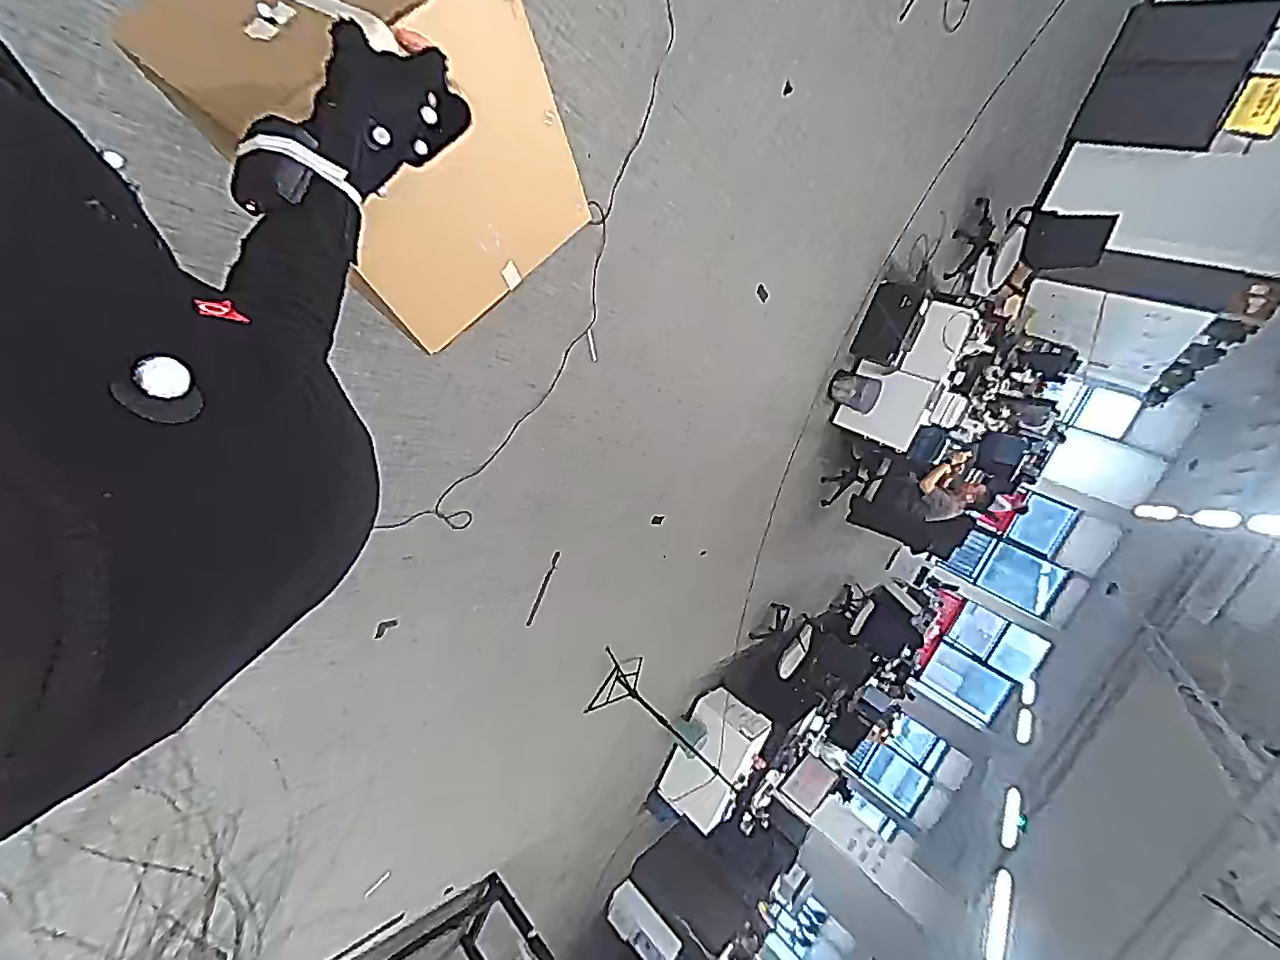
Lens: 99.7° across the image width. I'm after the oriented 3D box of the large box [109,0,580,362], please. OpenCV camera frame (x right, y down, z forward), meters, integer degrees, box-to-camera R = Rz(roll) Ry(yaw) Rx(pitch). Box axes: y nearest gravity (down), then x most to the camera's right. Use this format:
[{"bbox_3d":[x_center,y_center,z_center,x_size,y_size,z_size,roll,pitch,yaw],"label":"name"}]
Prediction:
[{"bbox_3d":[-0.350,-0.435,0.715,0.320,0.408,0.320,-46,157,-10],"label":"large box"}]
